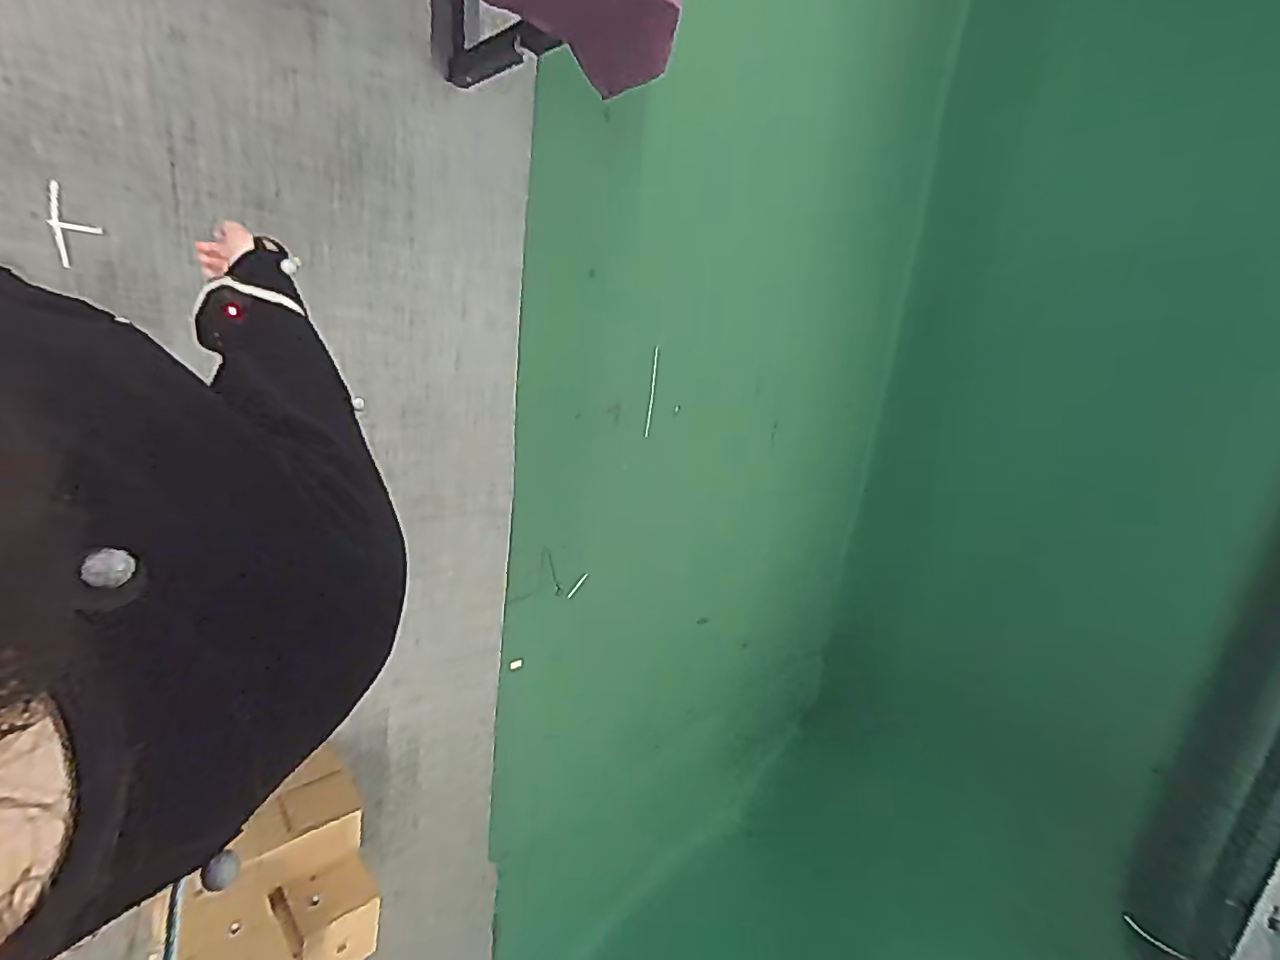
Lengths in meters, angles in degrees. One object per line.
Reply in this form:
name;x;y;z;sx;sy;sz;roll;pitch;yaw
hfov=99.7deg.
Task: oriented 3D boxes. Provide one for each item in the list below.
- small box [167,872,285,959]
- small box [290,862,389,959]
small box;-0.856;0.974;1.116;0.168;0.176;0.179;-1;106;-47
small box;-0.725;1.069;1.299;0.168;0.176;0.179;-4;109;-47
